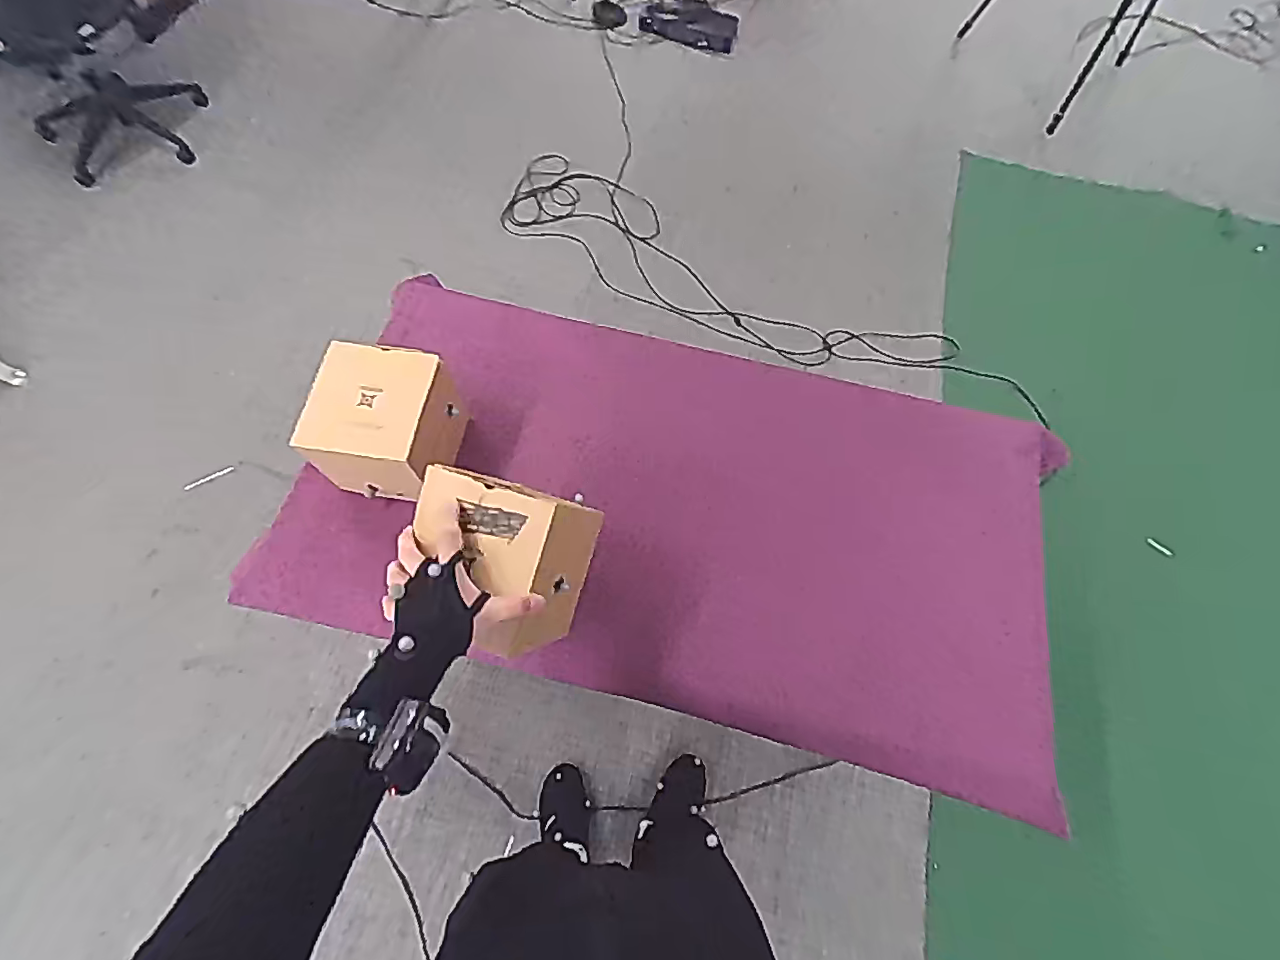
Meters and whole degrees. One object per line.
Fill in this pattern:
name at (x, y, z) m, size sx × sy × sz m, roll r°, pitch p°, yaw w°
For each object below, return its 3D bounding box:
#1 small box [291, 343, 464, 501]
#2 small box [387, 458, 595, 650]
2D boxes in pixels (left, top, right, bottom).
small box at (-0.392, -0.084, 0.847) m, size 0.168 × 0.176 × 0.179 m, roll 8°, pitch 66°, yaw 2°
small box at (-0.171, 0.086, 0.677) m, size 0.168 × 0.176 × 0.179 m, roll 16°, pitch 89°, yaw 16°
